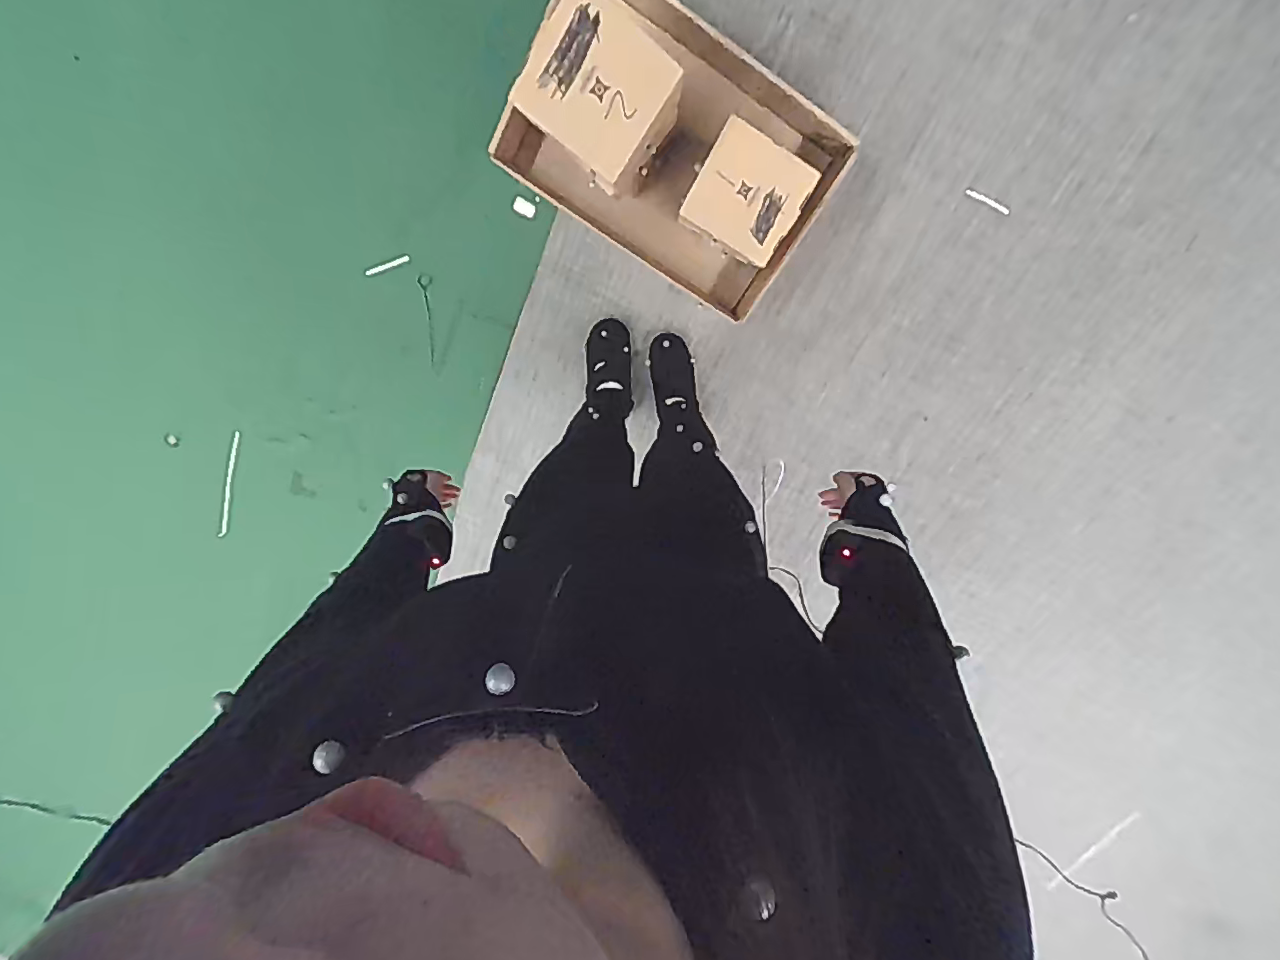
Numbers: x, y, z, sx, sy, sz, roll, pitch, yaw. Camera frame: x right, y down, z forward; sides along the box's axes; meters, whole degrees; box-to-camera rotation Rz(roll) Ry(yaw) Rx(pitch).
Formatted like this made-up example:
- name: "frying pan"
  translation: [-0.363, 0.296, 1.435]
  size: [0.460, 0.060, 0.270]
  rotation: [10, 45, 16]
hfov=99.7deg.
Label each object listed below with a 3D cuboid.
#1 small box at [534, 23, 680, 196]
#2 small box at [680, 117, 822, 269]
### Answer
- name: "small box"
  translation: [-0.051, -0.616, 0.932]
  size: [0.179, 0.176, 0.168]
  rotation: [39, 110, -15]
- name: "small box"
  translation: [0.189, -0.499, 0.960]
  size: [0.179, 0.176, 0.168]
  rotation: [30, 113, -7]
